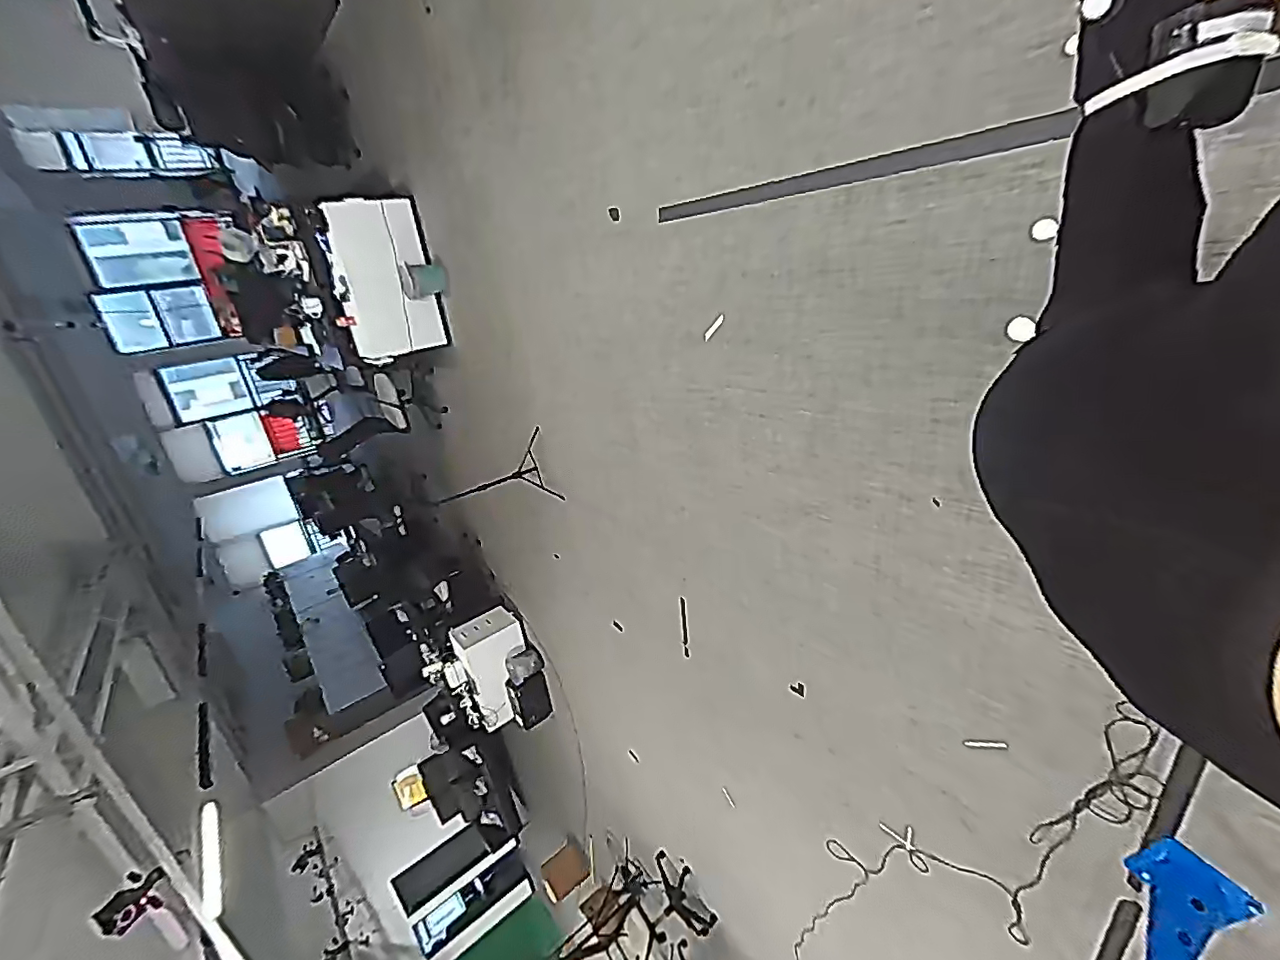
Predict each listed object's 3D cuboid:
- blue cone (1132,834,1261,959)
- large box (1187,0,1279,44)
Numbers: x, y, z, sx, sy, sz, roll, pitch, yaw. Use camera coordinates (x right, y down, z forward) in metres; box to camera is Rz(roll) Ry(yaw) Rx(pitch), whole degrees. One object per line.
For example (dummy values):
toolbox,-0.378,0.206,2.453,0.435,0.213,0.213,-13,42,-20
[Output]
blue cone,1.299,1.081,1.306,0.193,0.380,0.192,41,139,34
large box,0.557,-0.476,0.235,0.408,0.320,0.320,11,122,51
